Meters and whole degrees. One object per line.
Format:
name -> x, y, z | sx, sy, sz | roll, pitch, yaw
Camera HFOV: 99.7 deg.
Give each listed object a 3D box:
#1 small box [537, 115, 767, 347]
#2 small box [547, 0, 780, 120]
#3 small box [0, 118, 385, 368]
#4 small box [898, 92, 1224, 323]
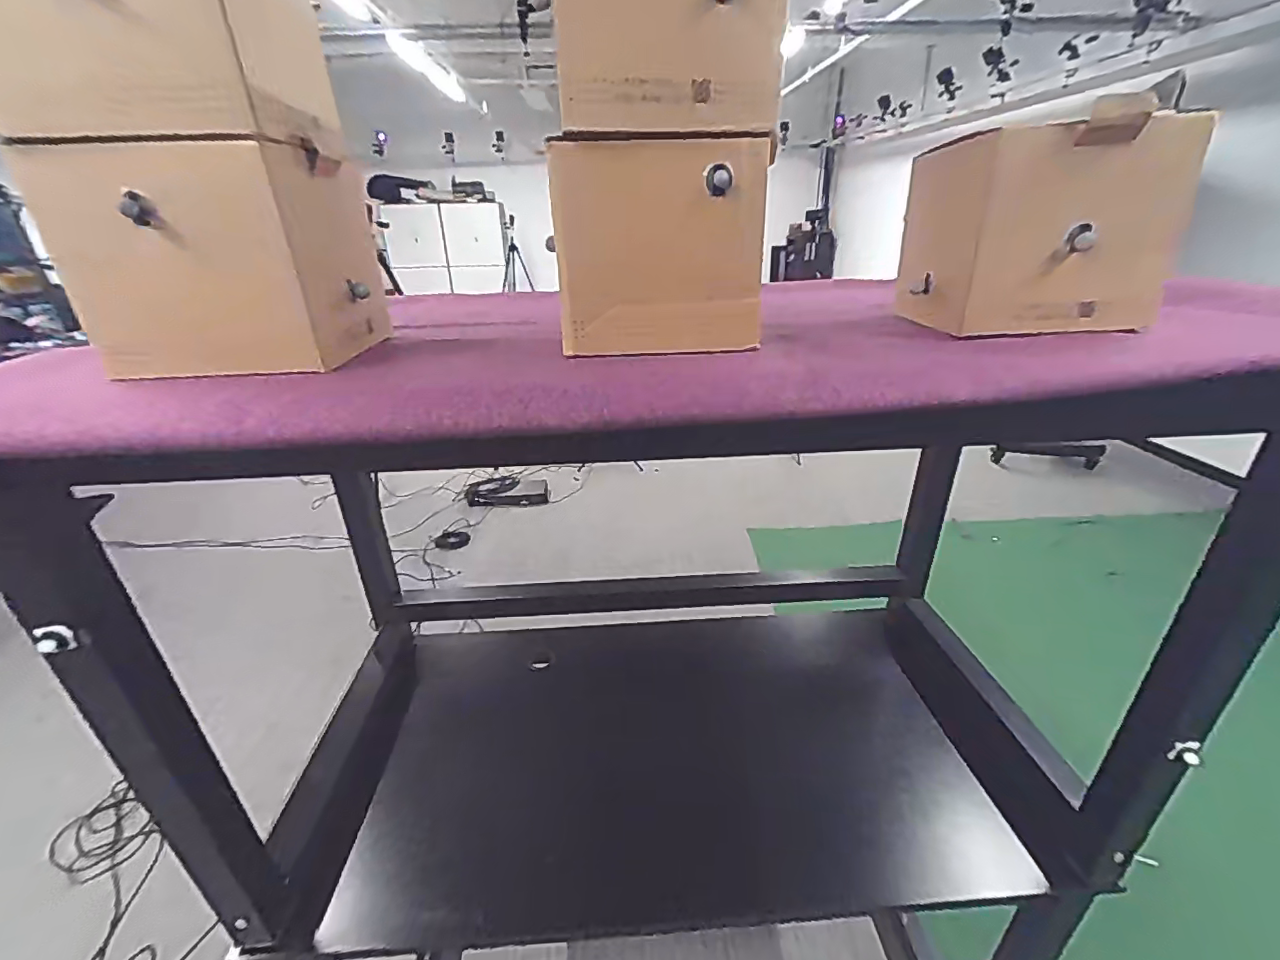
small box -> 0.009, -0.222, 0.503 | 0.179, 0.176, 0.168 | -3, 25, -3
small box -> 0.011, -0.369, 0.435 | 0.168, 0.176, 0.179 | -2, 24, -5
small box -> -0.352, -0.198, 0.467 | 0.179, 0.176, 0.168 | -3, 27, -3
small box -> 0.370, -0.246, 0.520 | 0.168, 0.176, 0.179 | -1, 24, 5
